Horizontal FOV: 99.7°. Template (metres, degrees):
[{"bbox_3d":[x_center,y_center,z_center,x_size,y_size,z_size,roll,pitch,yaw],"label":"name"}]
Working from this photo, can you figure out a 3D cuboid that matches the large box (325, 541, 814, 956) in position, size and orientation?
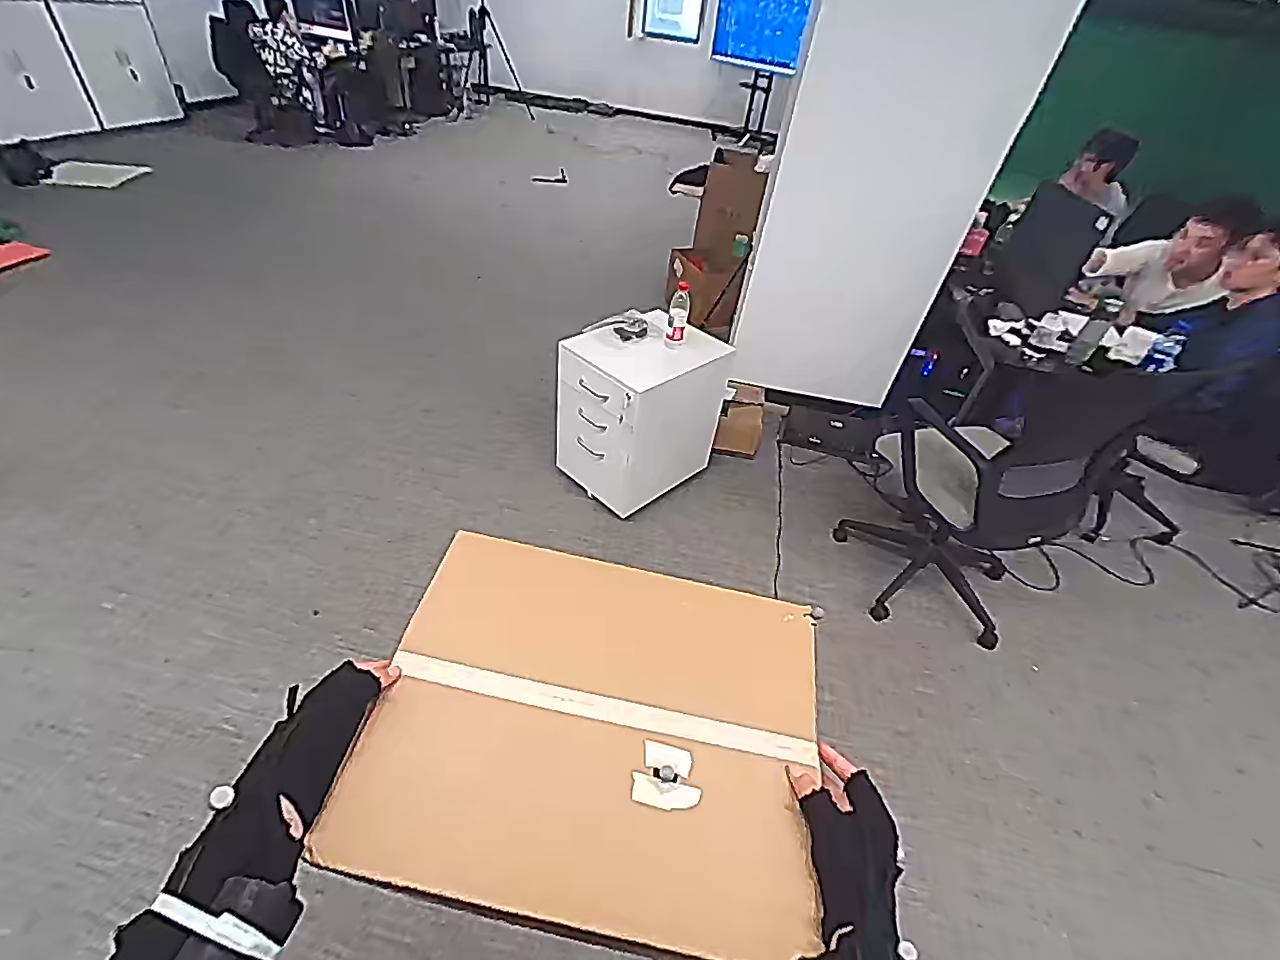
[{"bbox_3d":[-0.053,0.315,0.632,0.408,0.320,0.320,12,50,1],"label":"large box"}]
